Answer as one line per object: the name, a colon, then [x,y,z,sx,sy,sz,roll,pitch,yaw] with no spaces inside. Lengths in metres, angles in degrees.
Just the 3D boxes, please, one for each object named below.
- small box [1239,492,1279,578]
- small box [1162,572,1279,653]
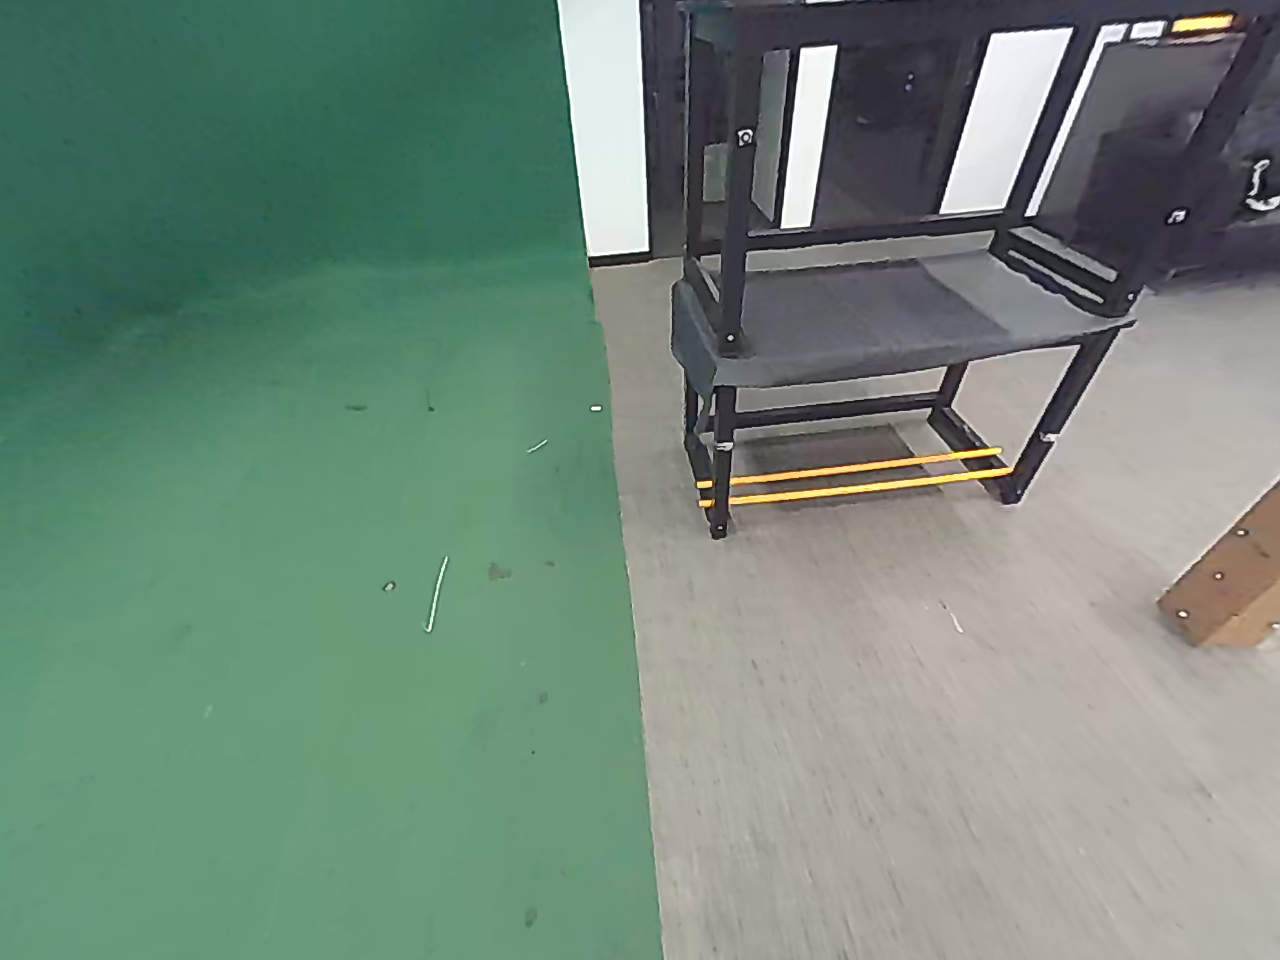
small box: [1.675,0.140,1.345,0.179,0.176,0.168,-4,42,0]
small box: [1.692,0.383,1.562,0.179,0.176,0.168,-3,41,2]
